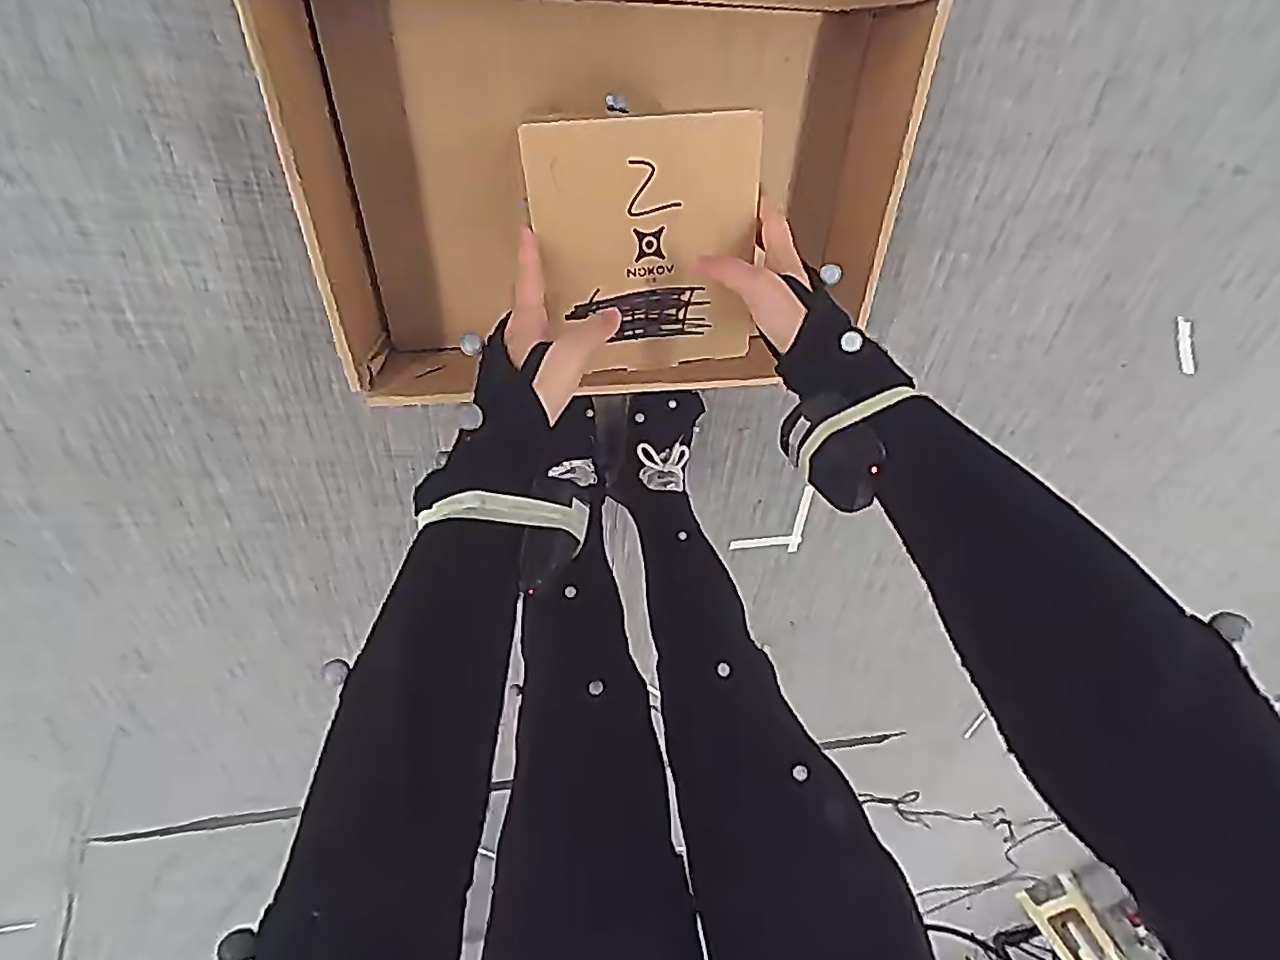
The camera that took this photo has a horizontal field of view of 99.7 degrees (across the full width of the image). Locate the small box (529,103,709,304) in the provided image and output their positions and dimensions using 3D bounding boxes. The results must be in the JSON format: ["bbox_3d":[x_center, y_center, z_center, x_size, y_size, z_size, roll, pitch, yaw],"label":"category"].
[{"bbox_3d":[-0.031,-0.309,0.598,0.168,0.176,0.179,-6,126,-8],"label":"small box"}]
